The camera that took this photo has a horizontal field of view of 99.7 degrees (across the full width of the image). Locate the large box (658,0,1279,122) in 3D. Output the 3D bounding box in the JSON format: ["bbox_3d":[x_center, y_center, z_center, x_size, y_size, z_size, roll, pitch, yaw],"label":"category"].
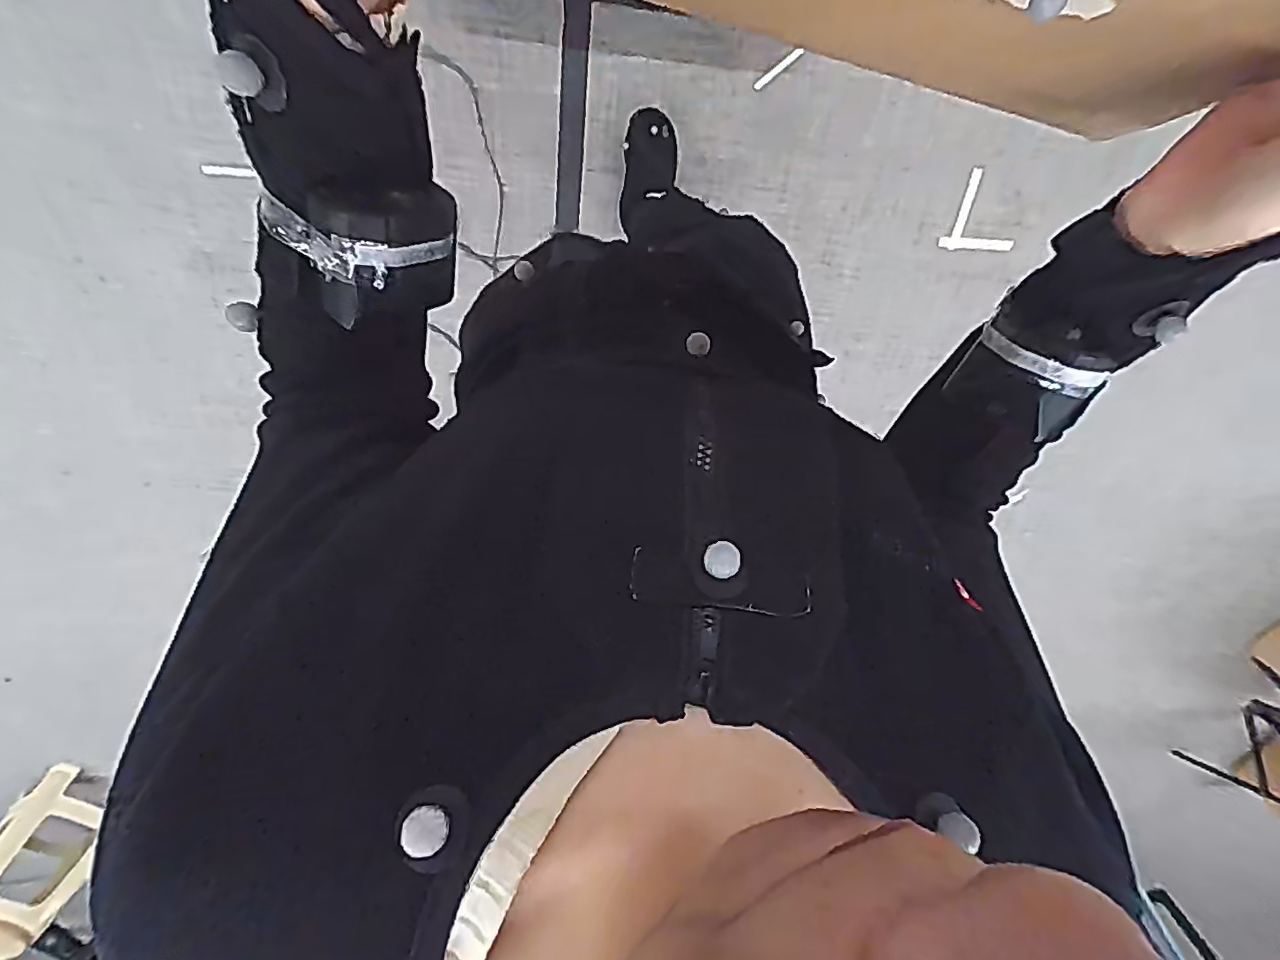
[{"bbox_3d":[0.121,-0.339,0.109,0.408,0.320,0.320,8,107,-9],"label":"large box"}]
